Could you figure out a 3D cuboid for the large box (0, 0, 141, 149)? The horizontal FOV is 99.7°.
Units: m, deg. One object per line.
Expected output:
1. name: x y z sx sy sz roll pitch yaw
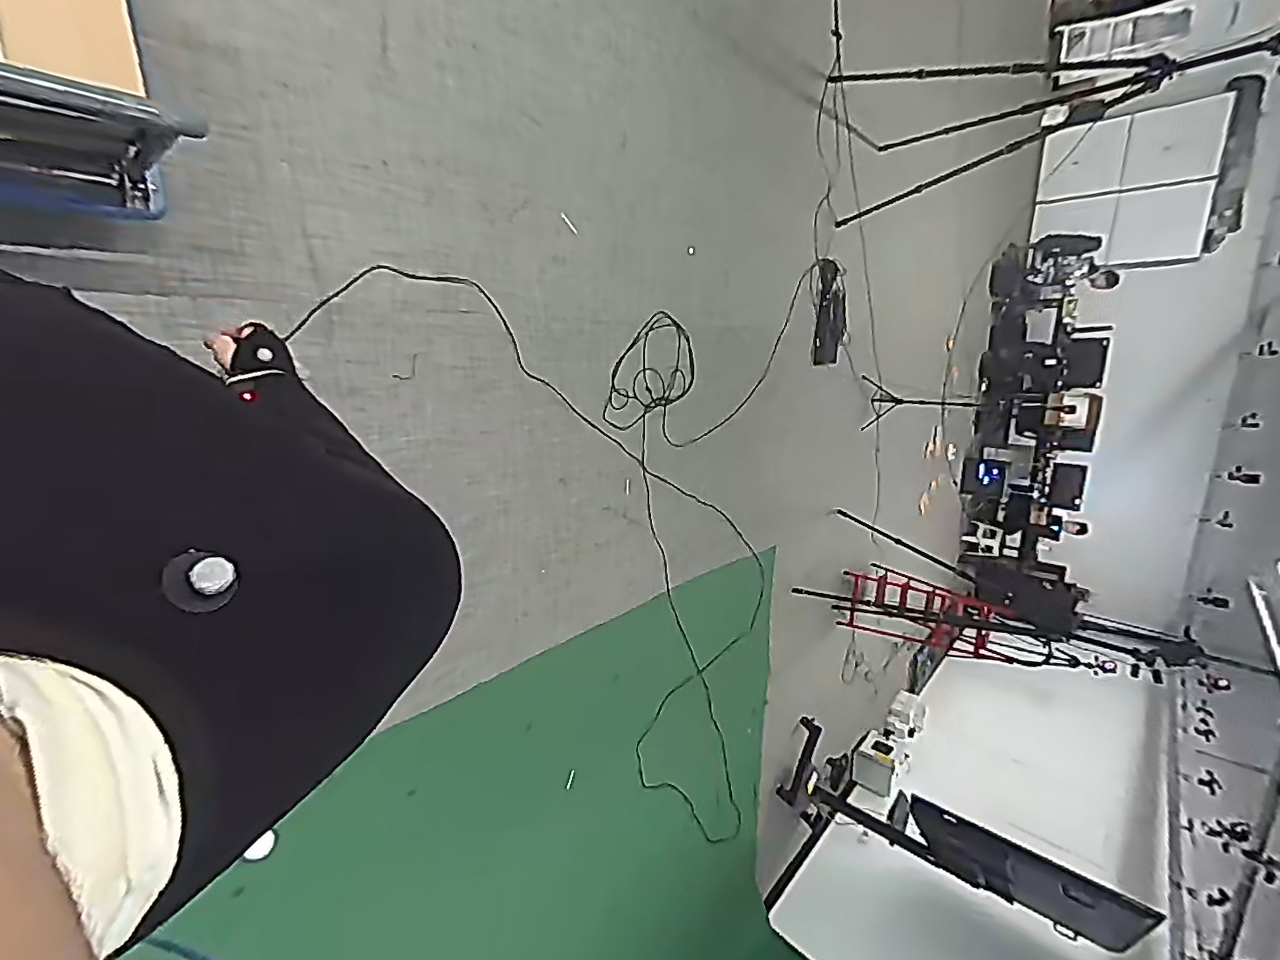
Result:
1. large box: -0.977 -0.755 0.766 0.320 0.320 0.408 -17 111 -45
